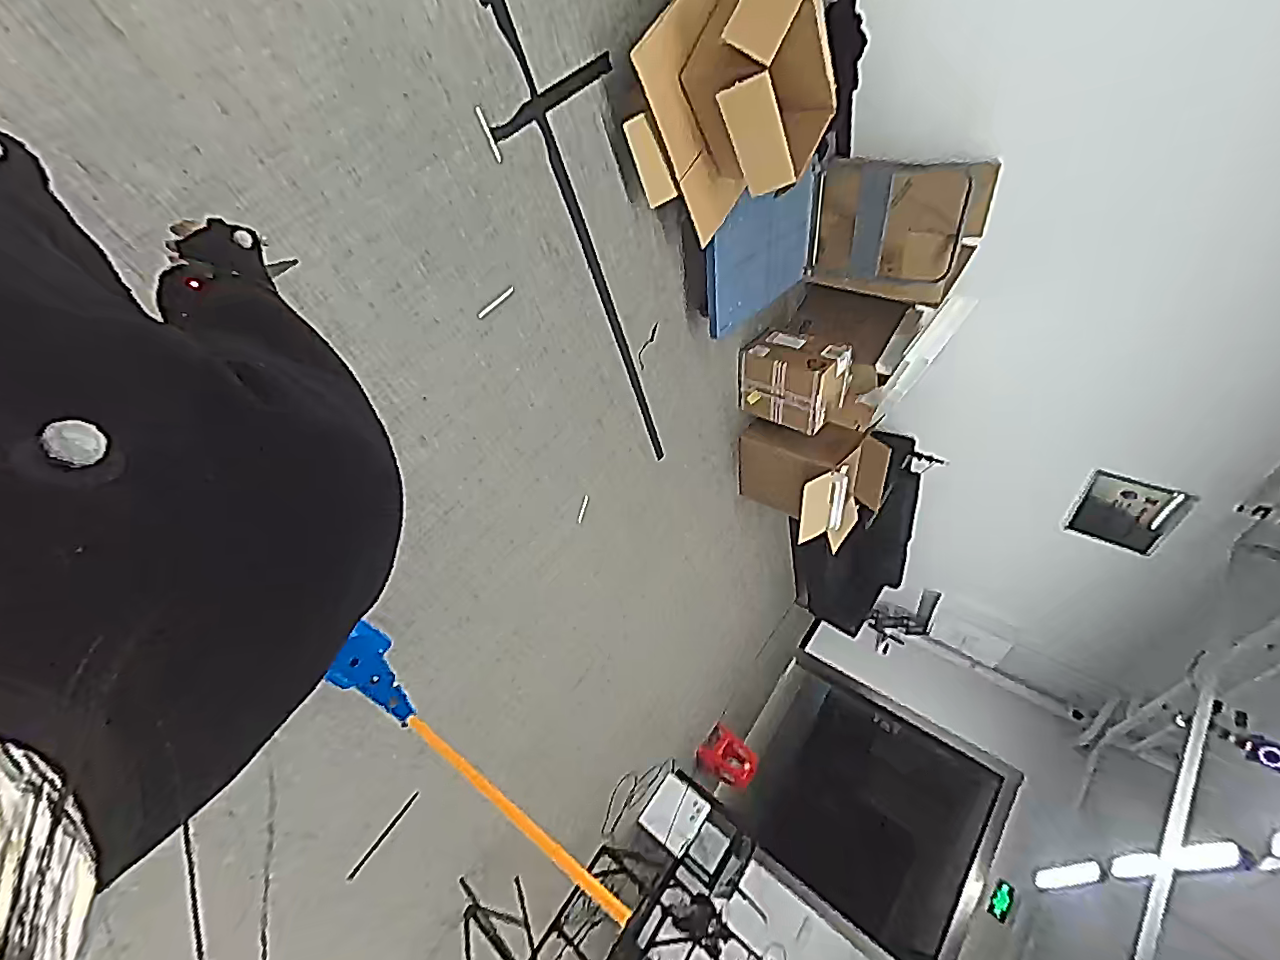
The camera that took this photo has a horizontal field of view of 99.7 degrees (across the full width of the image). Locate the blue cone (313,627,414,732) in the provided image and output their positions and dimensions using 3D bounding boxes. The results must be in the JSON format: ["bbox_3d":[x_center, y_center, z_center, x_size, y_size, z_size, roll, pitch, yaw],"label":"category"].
[{"bbox_3d":[-0.795,0.631,1.647,0.192,0.380,0.193,-47,143,-25],"label":"blue cone"}]
